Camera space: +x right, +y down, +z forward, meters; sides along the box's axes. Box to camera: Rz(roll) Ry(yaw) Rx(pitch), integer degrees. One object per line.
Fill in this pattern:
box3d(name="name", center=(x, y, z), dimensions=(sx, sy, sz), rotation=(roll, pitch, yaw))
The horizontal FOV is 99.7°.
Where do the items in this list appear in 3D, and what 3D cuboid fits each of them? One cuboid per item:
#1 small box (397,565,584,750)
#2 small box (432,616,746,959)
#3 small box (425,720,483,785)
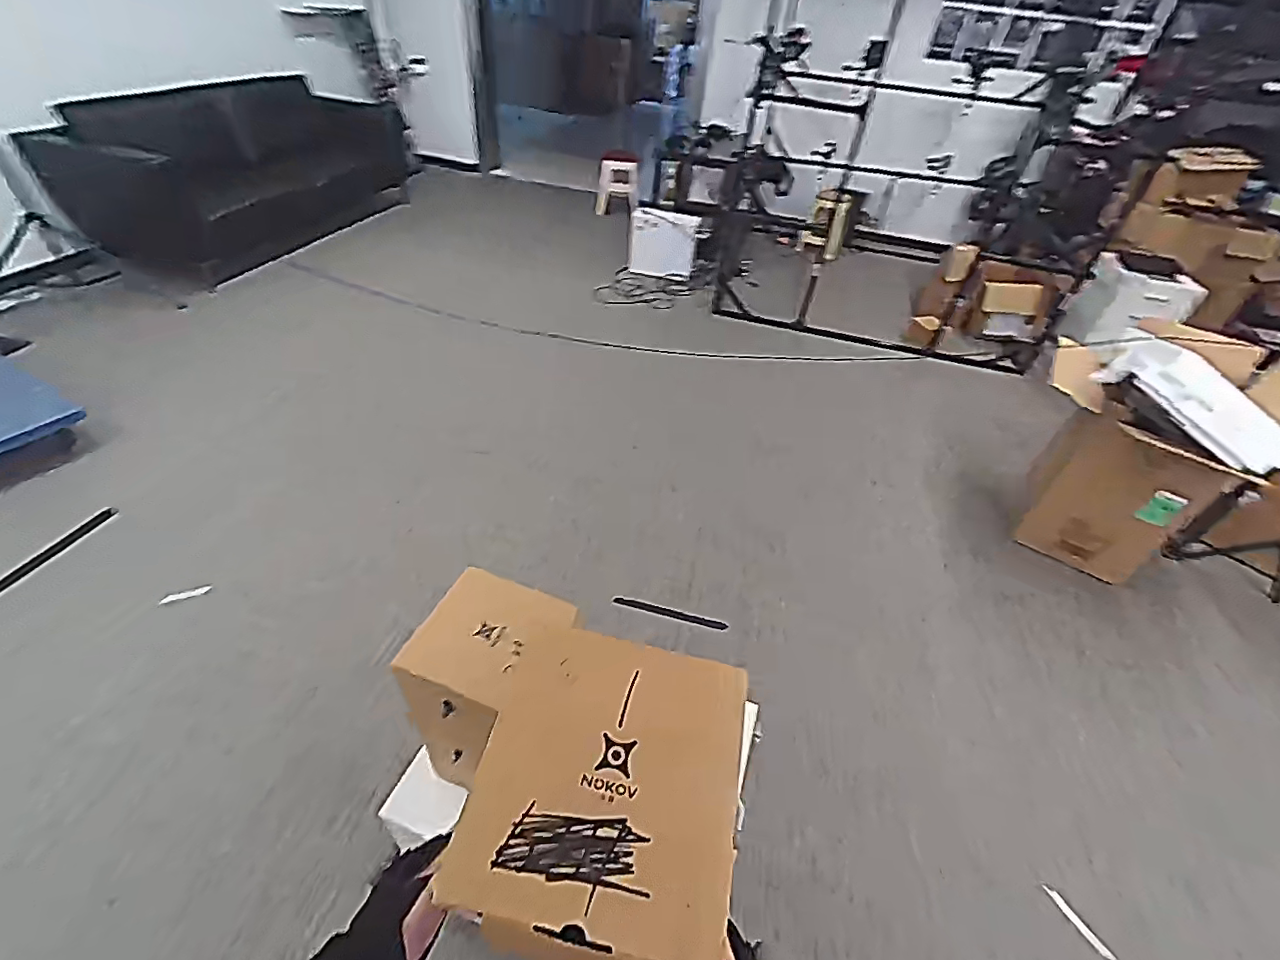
box3d(name="small box", center=(-0.191, 0.252, 0.735), dimensions=(0.179, 0.176, 0.168), rotation=(19, 43, 12))
box3d(name="small box", center=(-0.026, 0.235, 0.409), dimensions=(0.168, 0.176, 0.179), rotation=(13, 50, 4))
box3d(name="small box", center=(-0.206, 0.372, 0.846), dimensions=(0.168, 0.176, 0.179), rotation=(19, 41, 13))
